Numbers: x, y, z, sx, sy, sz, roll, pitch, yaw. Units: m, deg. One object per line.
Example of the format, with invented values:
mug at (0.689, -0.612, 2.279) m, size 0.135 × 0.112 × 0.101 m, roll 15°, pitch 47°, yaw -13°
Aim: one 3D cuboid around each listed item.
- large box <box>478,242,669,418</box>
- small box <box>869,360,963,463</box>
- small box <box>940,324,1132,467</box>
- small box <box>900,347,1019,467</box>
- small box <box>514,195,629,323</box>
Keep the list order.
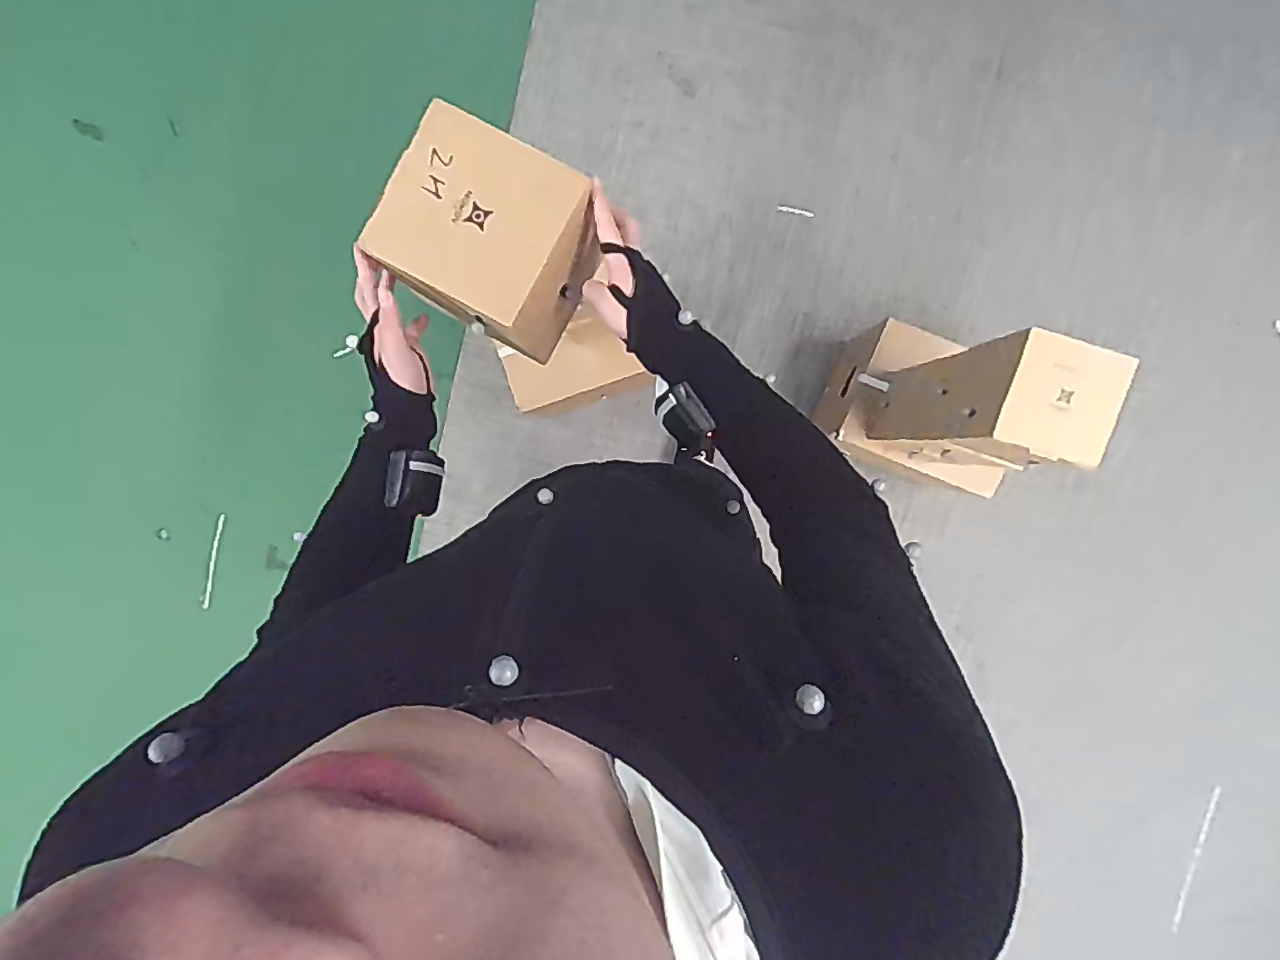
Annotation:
large box at (-0.158, -0.380, 1.474) m, size 0.408 × 0.320 × 0.320 m, roll -19°, pitch 92°, yaw 5°
small box at (0.639, -0.150, 1.209) m, size 0.168 × 0.176 × 0.179 m, roll 19°, pitch 96°, yaw 1°
small box at (0.627, -0.130, 0.884) m, size 0.168 × 0.176 × 0.179 m, roll 18°, pitch 94°, yaw 1°
small box at (0.634, -0.136, 1.047) m, size 0.168 × 0.176 × 0.179 m, roll 19°, pitch 94°, yaw 2°
small box at (-0.125, -0.420, 1.058) m, size 0.179 × 0.176 × 0.168 m, roll -12°, pitch 93°, yaw 3°
